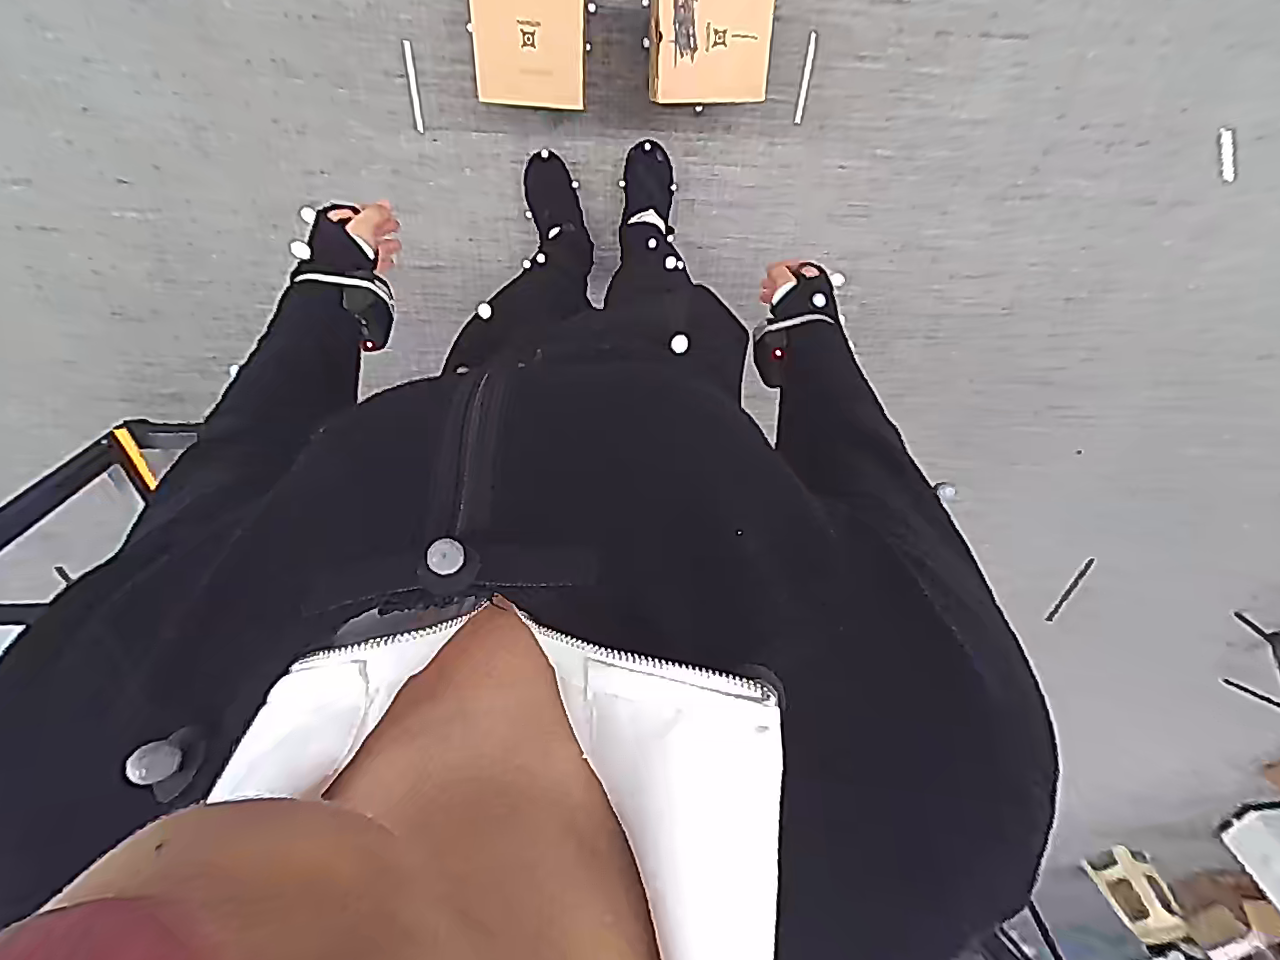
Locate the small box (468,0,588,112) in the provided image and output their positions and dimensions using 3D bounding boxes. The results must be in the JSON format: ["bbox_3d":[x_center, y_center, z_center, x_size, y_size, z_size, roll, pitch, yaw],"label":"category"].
[{"bbox_3d":[-0.171,-0.703,0.861,0.168,0.176,0.179,2,128,-4],"label":"small box"}]

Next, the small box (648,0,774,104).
[{"bbox_3d":[0.104,-0.710,0.873,0.179,0.176,0.168,-2,127,-3],"label":"small box"}]
